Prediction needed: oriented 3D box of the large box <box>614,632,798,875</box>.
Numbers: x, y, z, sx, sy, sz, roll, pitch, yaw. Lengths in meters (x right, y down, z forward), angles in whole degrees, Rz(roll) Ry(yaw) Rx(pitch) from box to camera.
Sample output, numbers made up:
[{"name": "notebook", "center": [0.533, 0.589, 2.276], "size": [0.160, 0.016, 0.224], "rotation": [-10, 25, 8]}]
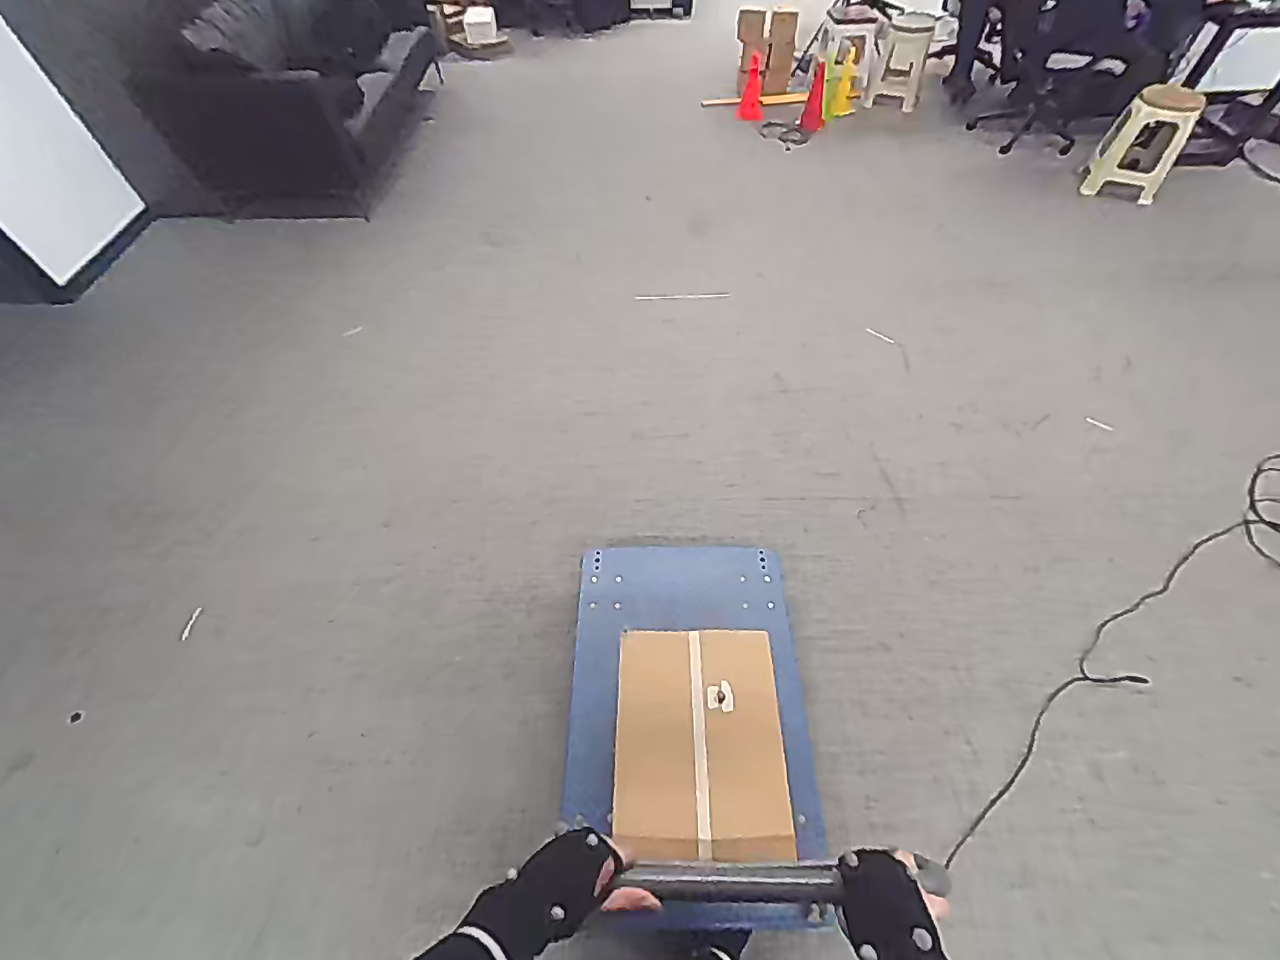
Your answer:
[{"name": "large box", "center": [0.116, 0.573, 1.133], "size": [0.320, 0.320, 0.408], "rotation": [-1, 52, 1]}]
